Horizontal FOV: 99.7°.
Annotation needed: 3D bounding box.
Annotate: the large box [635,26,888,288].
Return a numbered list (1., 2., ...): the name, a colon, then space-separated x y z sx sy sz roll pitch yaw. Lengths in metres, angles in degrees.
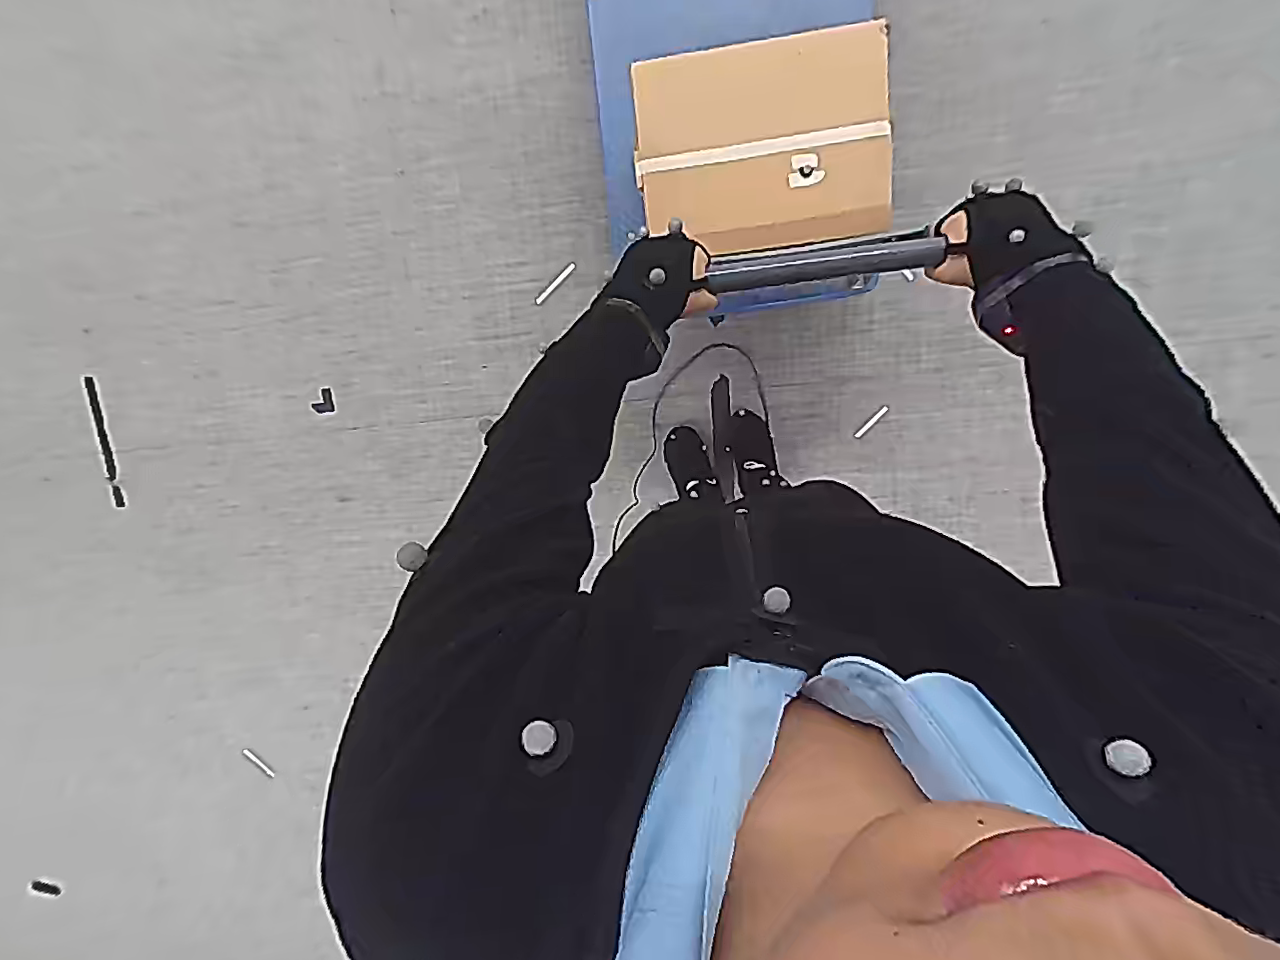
1. large box: 0.214 -0.581 1.050 0.408 0.320 0.320 -6 102 5
